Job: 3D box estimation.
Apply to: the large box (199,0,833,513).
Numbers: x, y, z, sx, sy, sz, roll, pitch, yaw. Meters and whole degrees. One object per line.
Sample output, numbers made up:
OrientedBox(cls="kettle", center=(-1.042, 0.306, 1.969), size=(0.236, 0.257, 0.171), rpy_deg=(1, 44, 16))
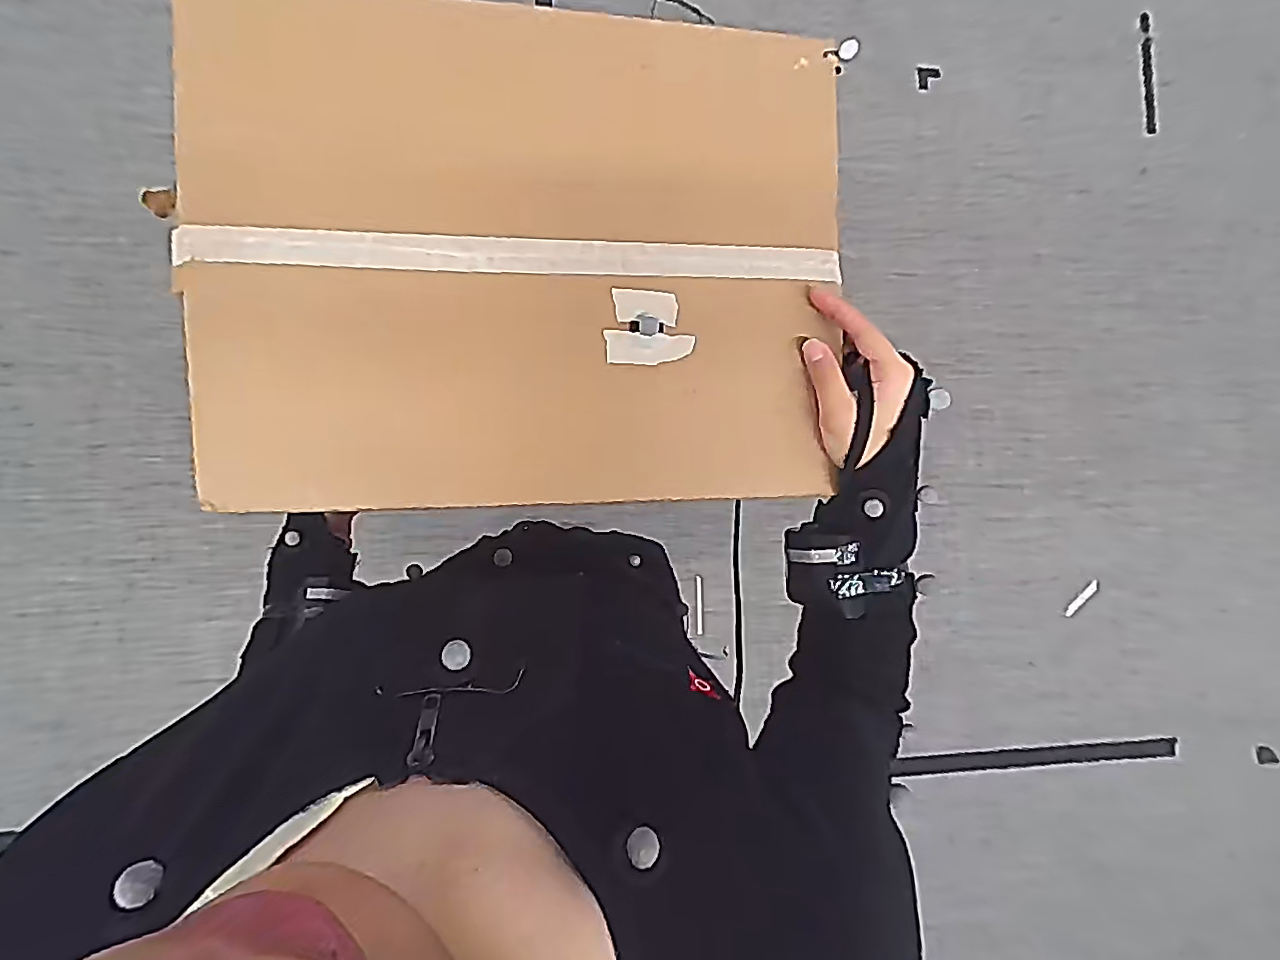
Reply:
OrientedBox(cls="large box", center=(-0.086, -0.146, 0.501), size=(0.408, 0.320, 0.320), rpy_deg=(-2, 93, -10))
